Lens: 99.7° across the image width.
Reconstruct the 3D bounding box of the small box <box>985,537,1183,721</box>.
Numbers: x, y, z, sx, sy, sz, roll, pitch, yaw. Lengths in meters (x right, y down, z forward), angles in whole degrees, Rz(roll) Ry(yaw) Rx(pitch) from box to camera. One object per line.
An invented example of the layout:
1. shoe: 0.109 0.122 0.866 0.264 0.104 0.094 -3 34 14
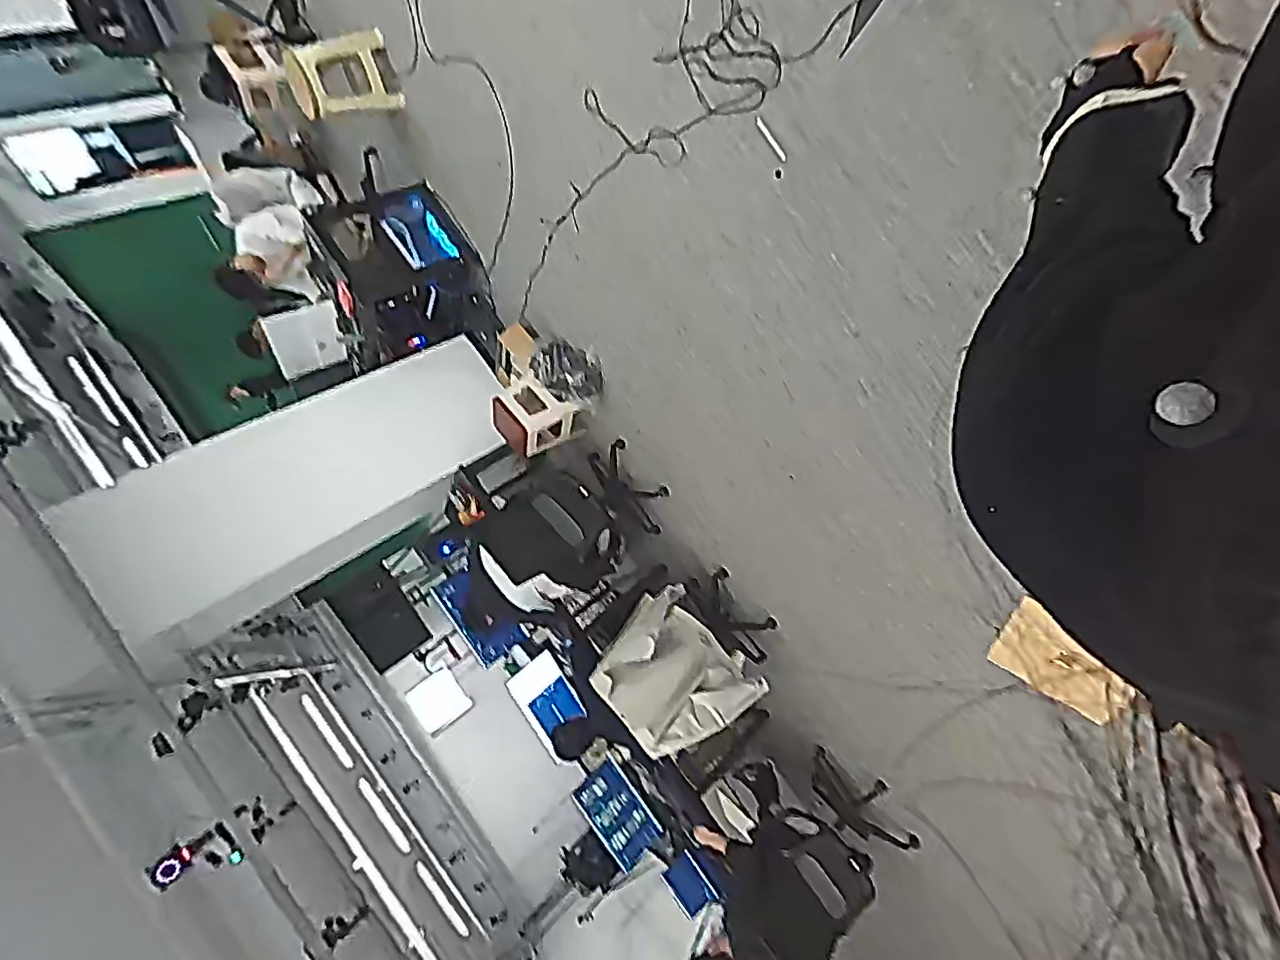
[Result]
1. small box: 0.674 0.219 0.826 0.168 0.176 0.179 33 145 36
